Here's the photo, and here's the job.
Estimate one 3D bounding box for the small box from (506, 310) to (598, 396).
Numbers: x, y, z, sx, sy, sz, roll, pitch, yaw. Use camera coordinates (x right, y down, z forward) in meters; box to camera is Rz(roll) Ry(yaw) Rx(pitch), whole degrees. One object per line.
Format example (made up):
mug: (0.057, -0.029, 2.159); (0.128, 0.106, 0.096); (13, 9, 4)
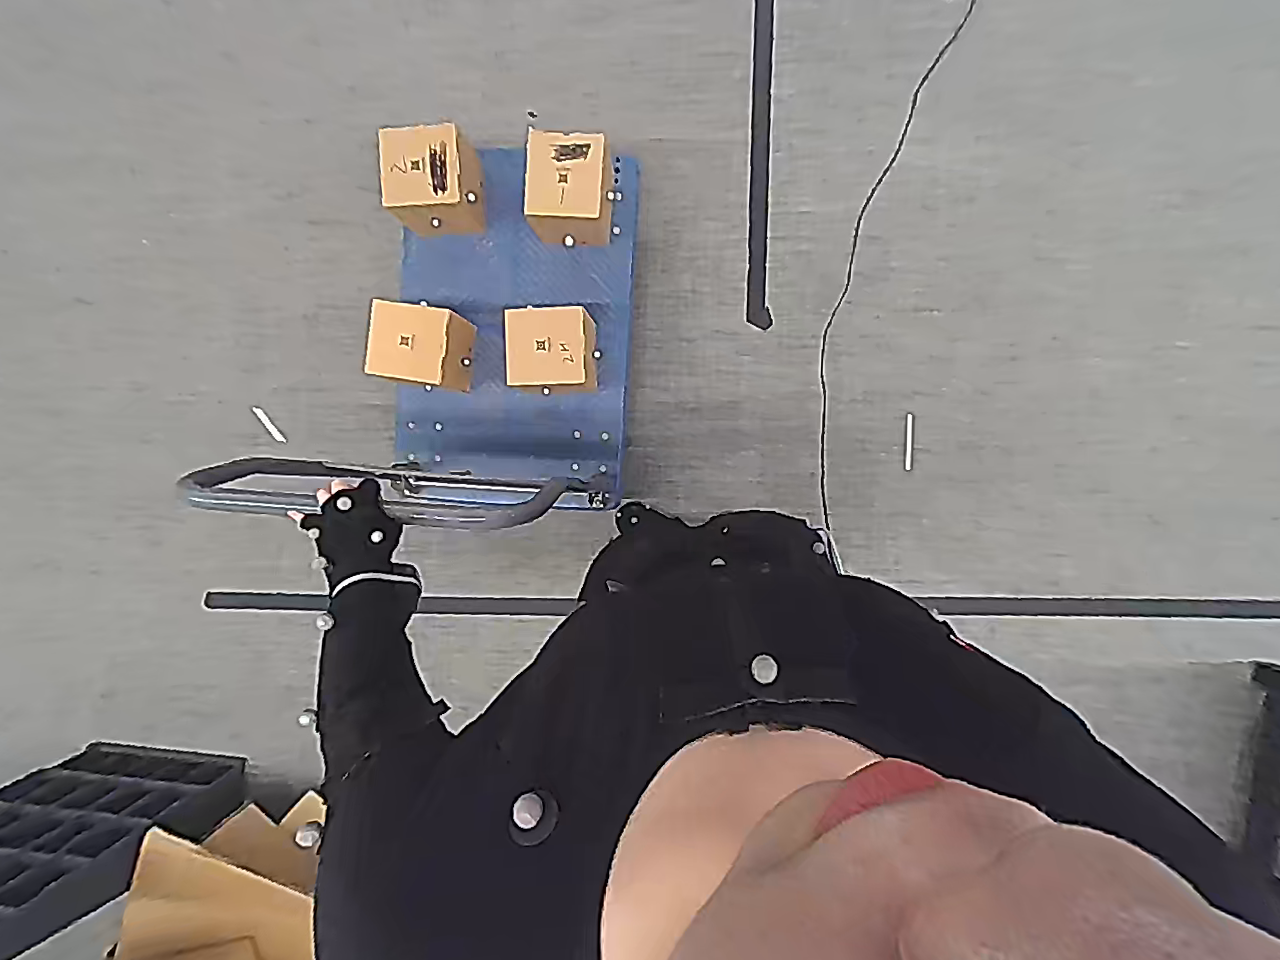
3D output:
small box: (-0.196, -0.285, 1.243); (0.179, 0.176, 0.168); (-1, 93, 4)

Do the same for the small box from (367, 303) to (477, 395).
small box: (-0.503, -0.298, 1.265); (0.179, 0.176, 0.168); (8, 92, 2)

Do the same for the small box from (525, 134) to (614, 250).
small box: (-0.153, -0.644, 1.223); (0.168, 0.176, 0.179); (4, 94, 4)
